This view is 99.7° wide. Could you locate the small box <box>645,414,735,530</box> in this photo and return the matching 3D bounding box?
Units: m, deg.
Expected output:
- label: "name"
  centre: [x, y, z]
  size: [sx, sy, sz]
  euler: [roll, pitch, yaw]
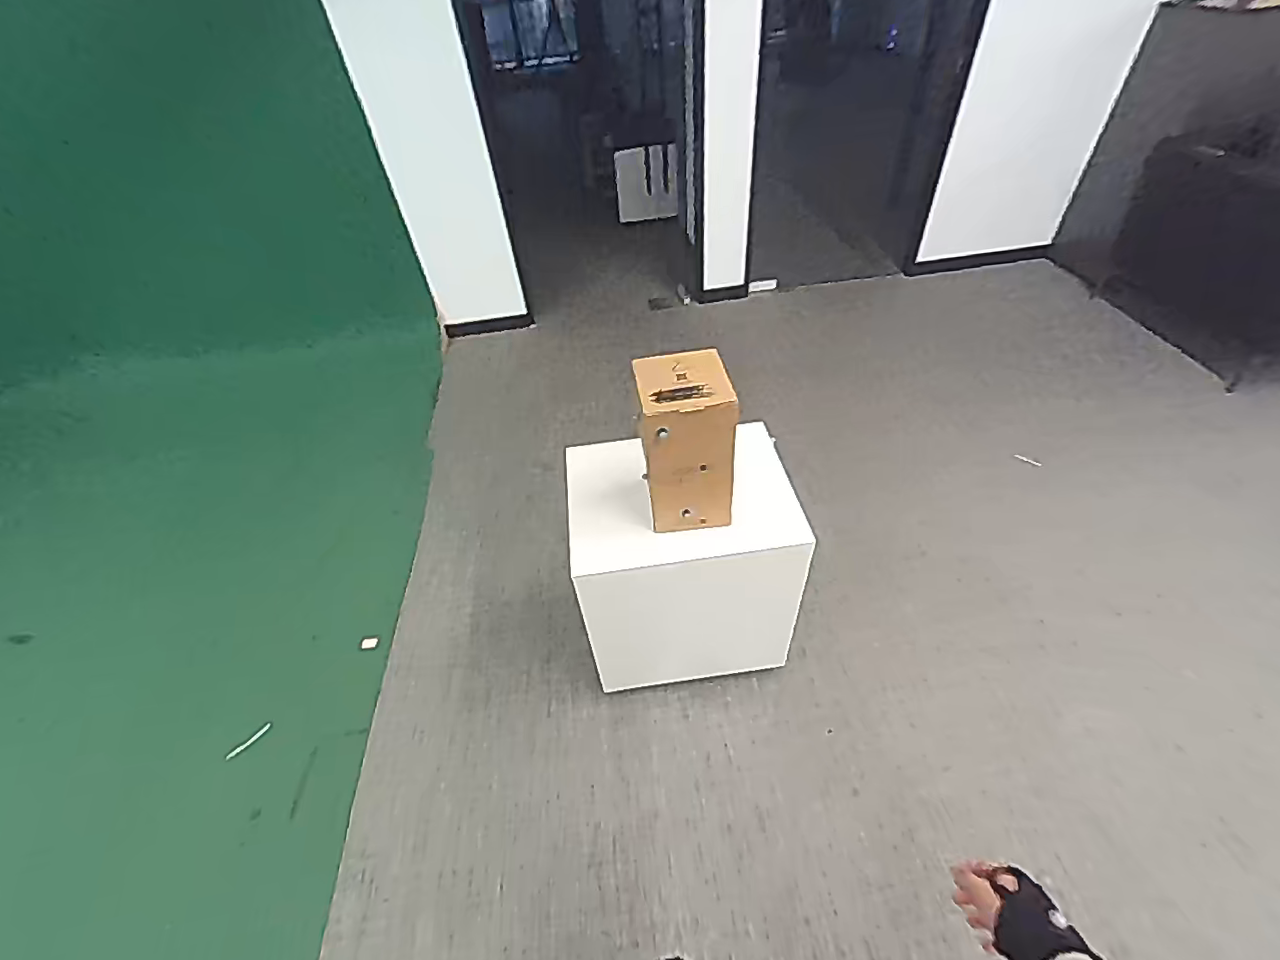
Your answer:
- label: "small box"
  centre: [0.101, -0.017, 1.153]
  size: [0.168, 0.176, 0.179]
  euler: [-7, 45, 0]
